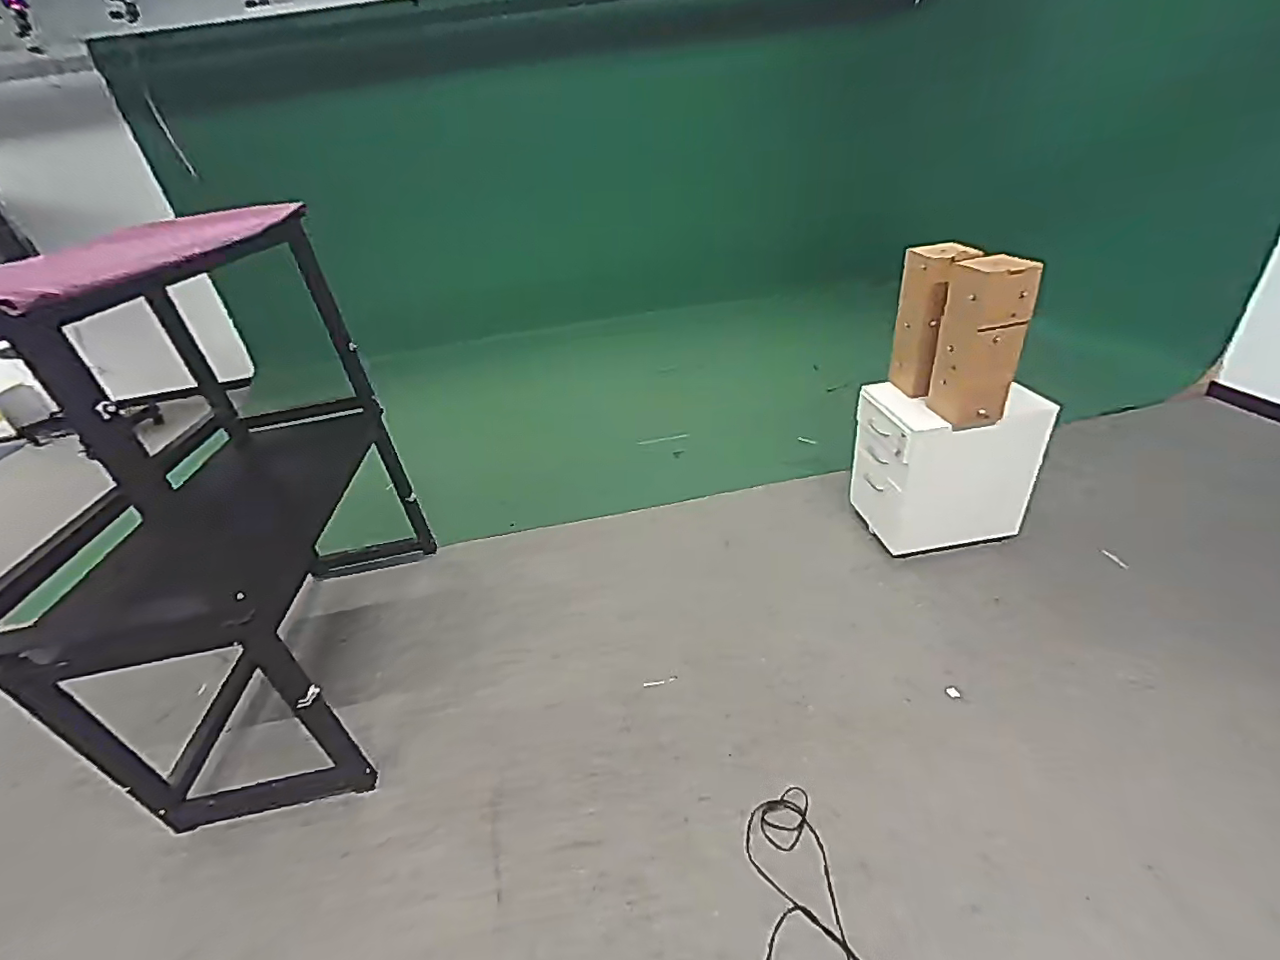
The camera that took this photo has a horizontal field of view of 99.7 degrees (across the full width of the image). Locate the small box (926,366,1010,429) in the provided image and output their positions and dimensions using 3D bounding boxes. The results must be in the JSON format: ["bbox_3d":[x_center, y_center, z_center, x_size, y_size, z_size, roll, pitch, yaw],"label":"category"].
[{"bbox_3d":[1.105,-0.292,1.840,0.168,0.176,0.179,-9,32,-2],"label":"small box"}]

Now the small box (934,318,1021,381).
[{"bbox_3d":[1.087,-0.435,1.758,0.179,0.176,0.168,-11,33,-4],"label":"small box"}]

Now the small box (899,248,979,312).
[{"bbox_3d":[1.025,-0.692,1.870,0.168,0.176,0.179,-9,34,-2],"label":"small box"}]

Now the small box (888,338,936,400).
[{"bbox_3d":[1.063,-0.420,2.048,0.168,0.176,0.179,-10,34,-1],"label":"small box"}]

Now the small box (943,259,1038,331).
[{"bbox_3d":[1.070,-0.567,1.665,0.168,0.176,0.179,-10,31,-2],"label":"small box"}]
